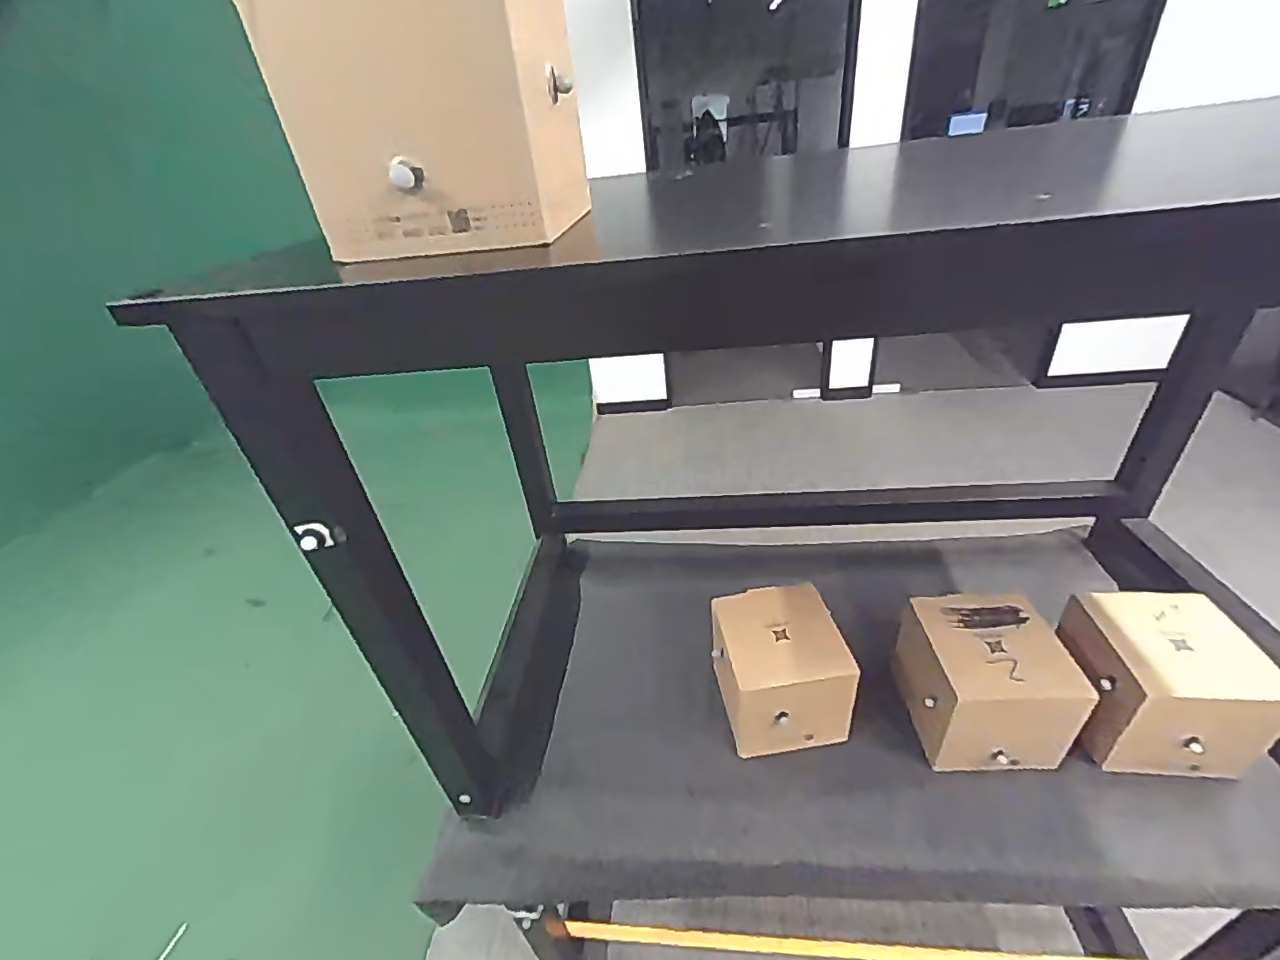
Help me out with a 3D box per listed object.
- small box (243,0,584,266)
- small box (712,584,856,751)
[{"bbox_3d":[-0.145,-0.272,0.419,0.168,0.176,0.179,-2,34,8],"label":"small box"},{"bbox_3d":[0.211,0.291,0.831,0.168,0.176,0.179,-8,33,-2],"label":"small box"}]
